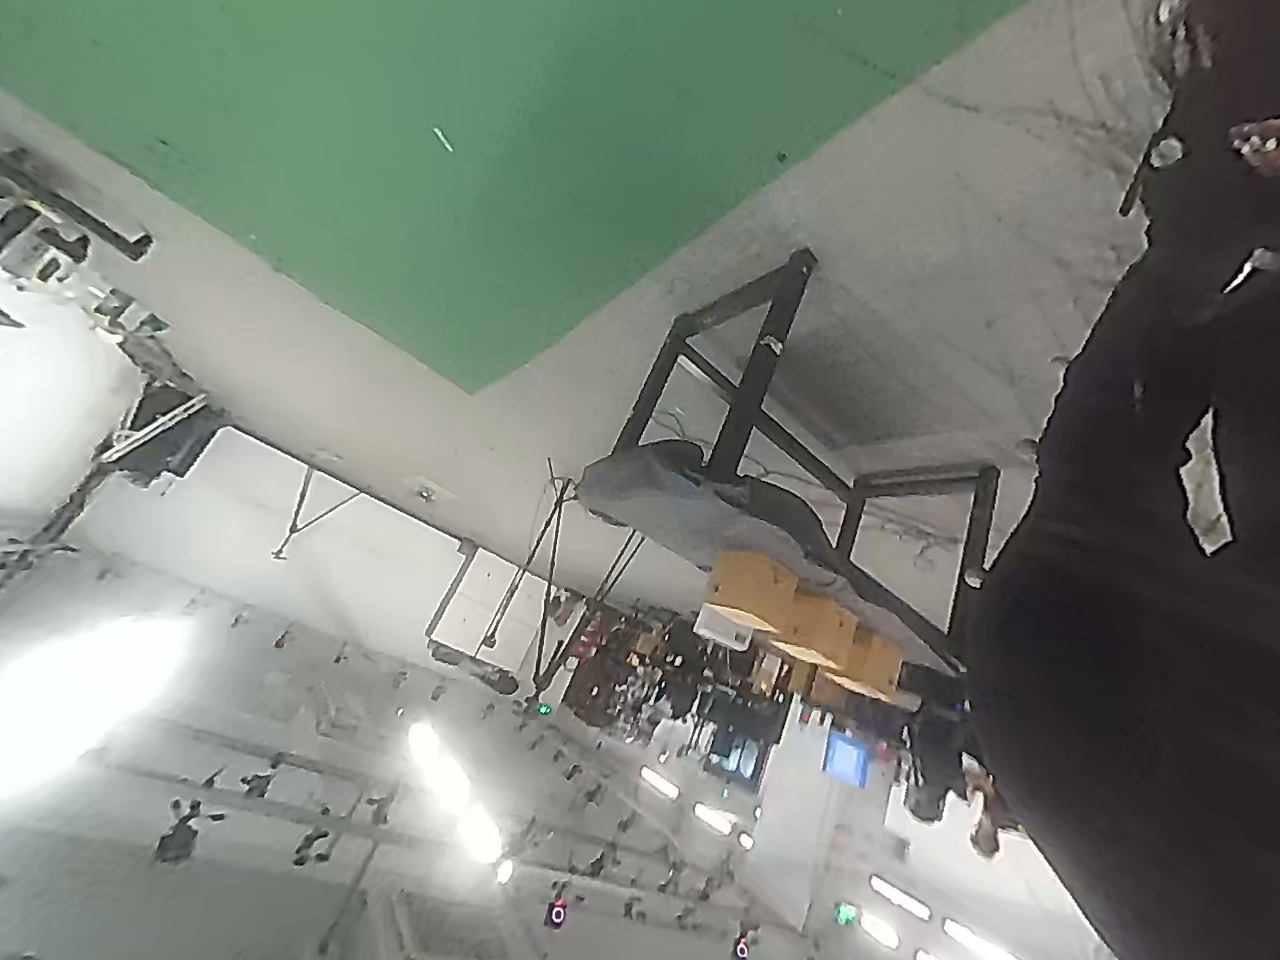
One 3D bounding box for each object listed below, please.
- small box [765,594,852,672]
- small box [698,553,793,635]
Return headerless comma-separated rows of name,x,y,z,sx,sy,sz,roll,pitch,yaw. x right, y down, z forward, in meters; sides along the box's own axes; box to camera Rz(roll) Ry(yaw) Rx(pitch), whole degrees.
small box,0.522,0.465,1.668,0.168,0.176,0.179,35,157,-28
small box,0.302,0.317,1.531,0.168,0.176,0.179,34,158,-28
